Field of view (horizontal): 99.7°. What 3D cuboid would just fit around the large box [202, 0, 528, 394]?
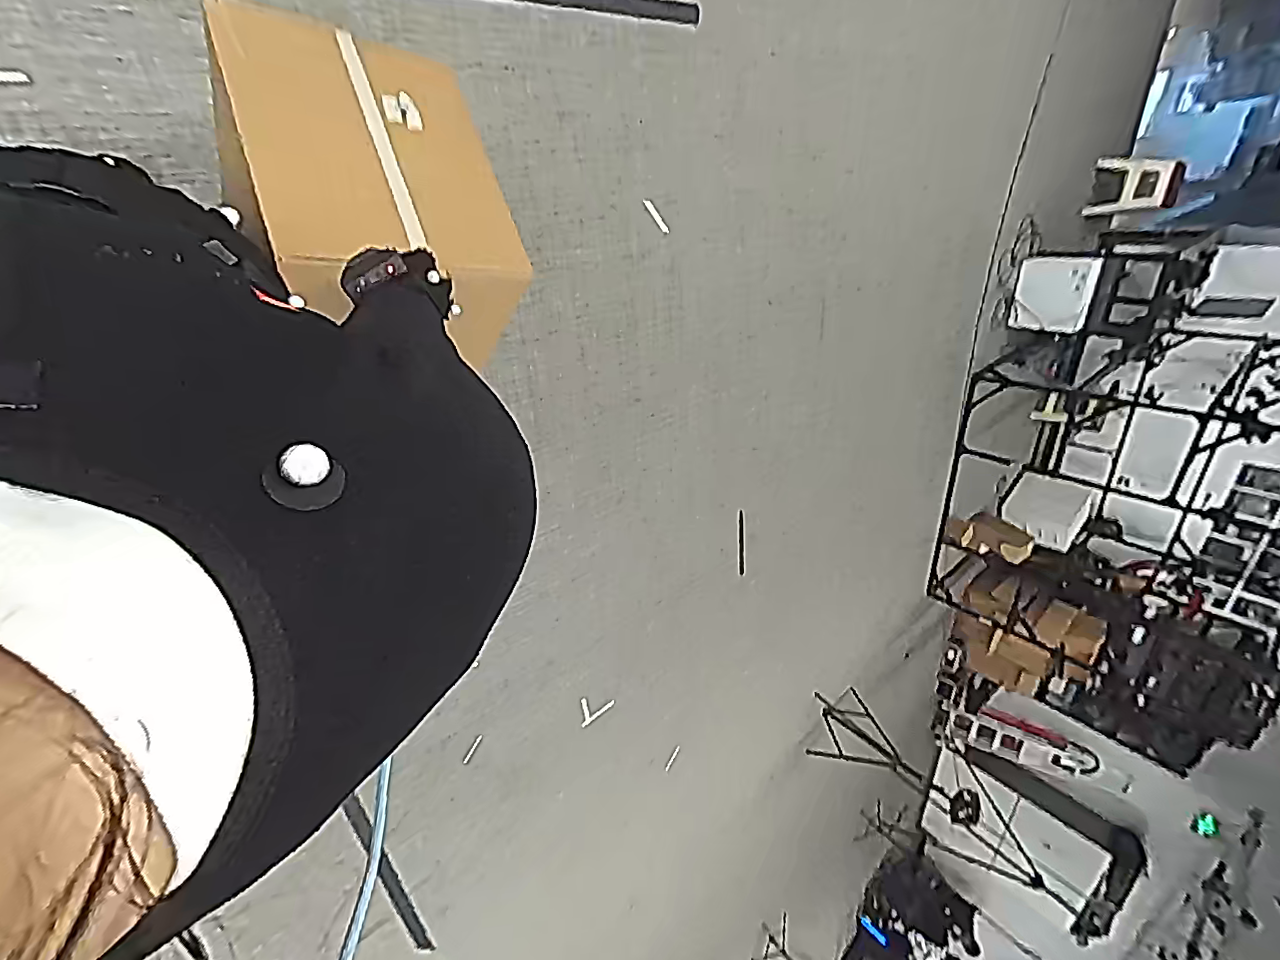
[{"bbox_3d":[-0.429,-0.392,0.840,0.320,0.320,0.408,-13,75,-40],"label":"large box"}]
